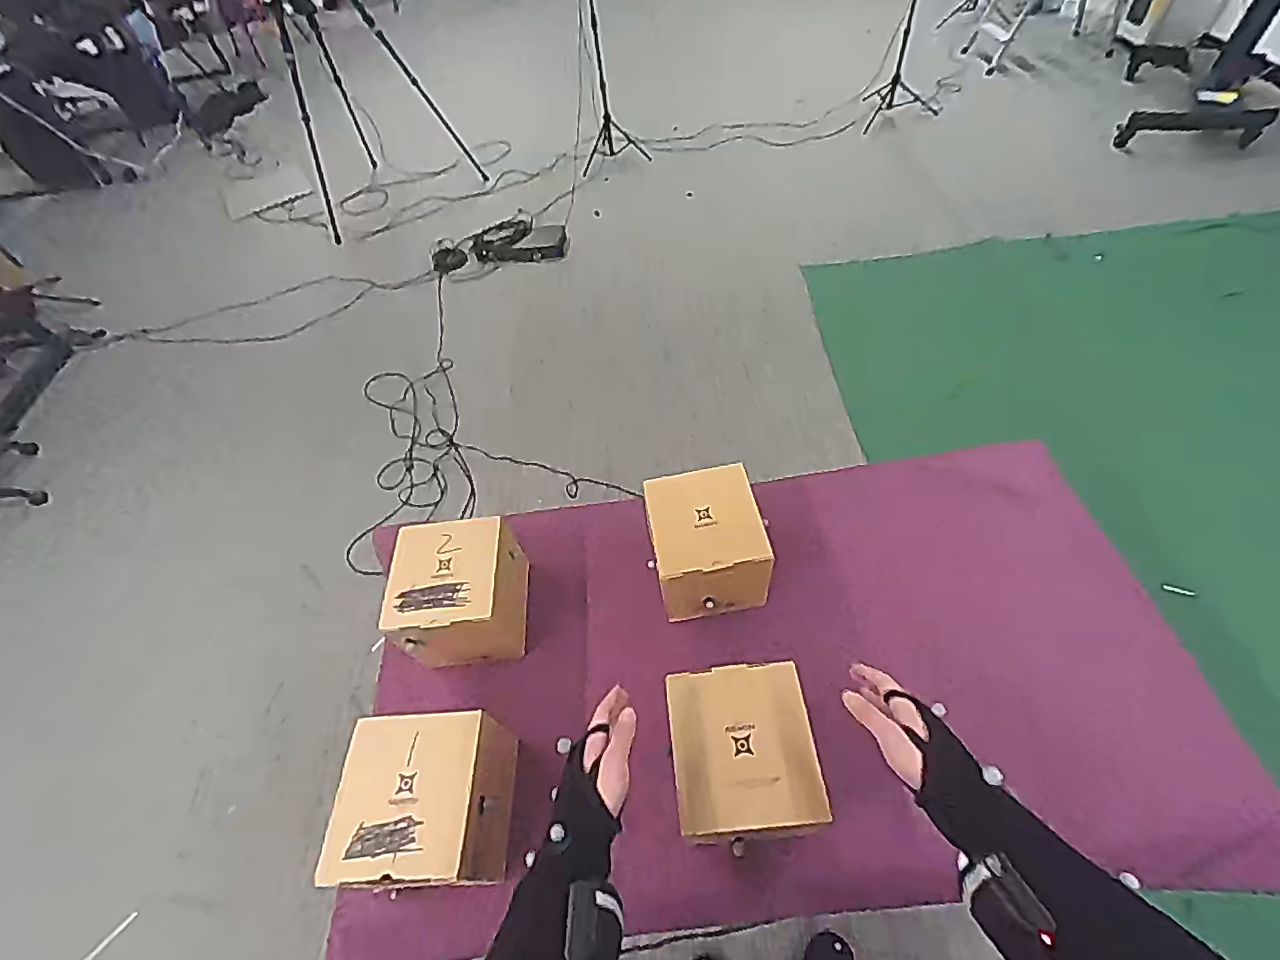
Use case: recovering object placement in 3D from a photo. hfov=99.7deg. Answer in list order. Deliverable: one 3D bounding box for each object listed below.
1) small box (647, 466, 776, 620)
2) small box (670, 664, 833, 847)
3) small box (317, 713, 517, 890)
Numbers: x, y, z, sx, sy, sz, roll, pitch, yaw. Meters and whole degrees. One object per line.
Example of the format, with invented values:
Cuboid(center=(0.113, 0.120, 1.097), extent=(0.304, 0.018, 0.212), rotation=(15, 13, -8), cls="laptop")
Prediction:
Cuboid(center=(0.108, 0.105, 0.877), extent=(0.168, 0.176, 0.179), rotation=(-10, 55, -1), cls="small box")
Cuboid(center=(0.130, 0.355, 0.692), extent=(0.168, 0.176, 0.179), rotation=(-7, 53, 3), cls="small box")
Cuboid(center=(-0.266, 0.415, 0.695), extent=(0.168, 0.176, 0.179), rotation=(-5, 52, 3), cls="small box")
